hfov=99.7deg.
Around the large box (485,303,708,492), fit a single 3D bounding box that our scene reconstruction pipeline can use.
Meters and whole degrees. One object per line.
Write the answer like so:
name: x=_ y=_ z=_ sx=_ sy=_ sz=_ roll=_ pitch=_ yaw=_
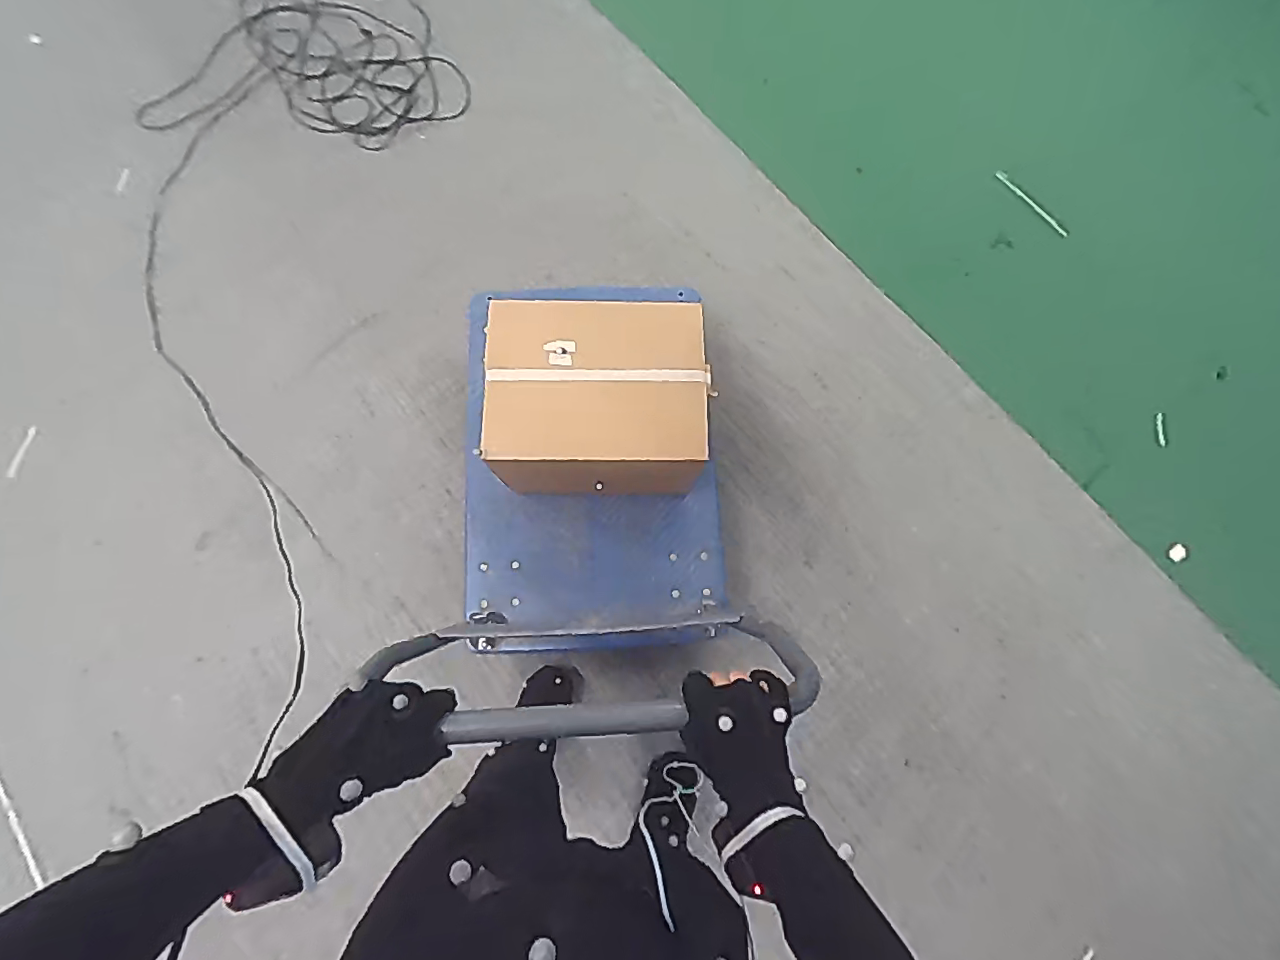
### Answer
large box: x=-0.080 y=-0.151 z=1.133 sx=0.408 sy=0.320 sz=0.320 roll=0 pitch=77 yaw=-1
